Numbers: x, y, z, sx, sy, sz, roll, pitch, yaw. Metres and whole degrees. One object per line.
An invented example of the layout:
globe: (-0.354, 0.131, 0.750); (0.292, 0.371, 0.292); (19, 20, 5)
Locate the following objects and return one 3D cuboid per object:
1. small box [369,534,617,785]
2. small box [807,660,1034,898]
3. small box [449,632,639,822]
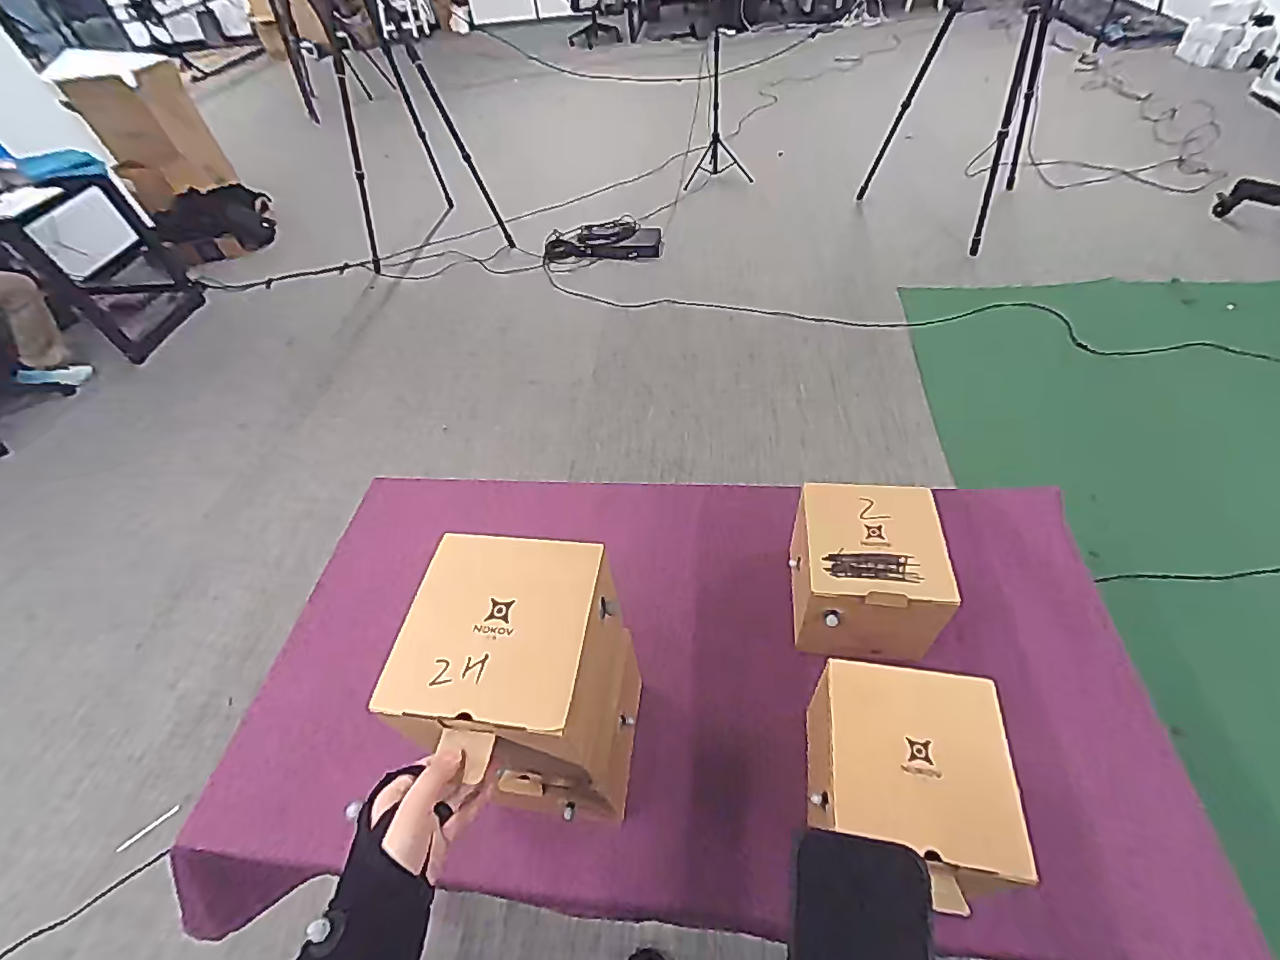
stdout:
small box: (-0.122, 0.177, 0.536); (0.168, 0.176, 0.179); (3, 50, 10)
small box: (0.274, 0.320, 0.579); (0.168, 0.176, 0.179); (4, 51, 12)
small box: (-0.097, 0.293, 0.652); (0.168, 0.176, 0.179); (3, 49, 9)
